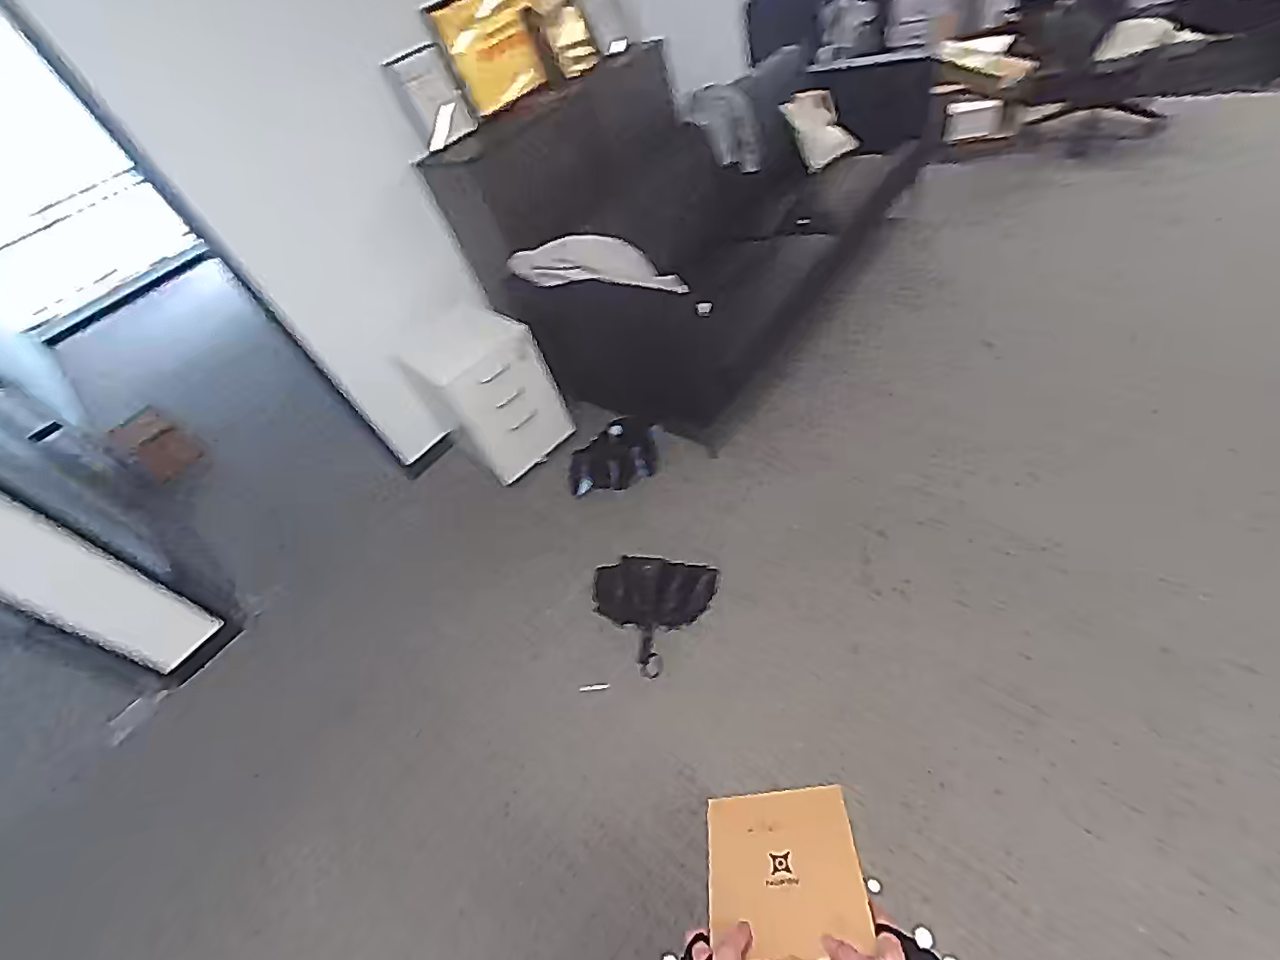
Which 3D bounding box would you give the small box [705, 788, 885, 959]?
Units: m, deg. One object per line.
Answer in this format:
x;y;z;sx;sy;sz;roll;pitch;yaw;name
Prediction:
0.178;0.498;0.618;0.168;0.176;0.179;-16;21;11;small box
